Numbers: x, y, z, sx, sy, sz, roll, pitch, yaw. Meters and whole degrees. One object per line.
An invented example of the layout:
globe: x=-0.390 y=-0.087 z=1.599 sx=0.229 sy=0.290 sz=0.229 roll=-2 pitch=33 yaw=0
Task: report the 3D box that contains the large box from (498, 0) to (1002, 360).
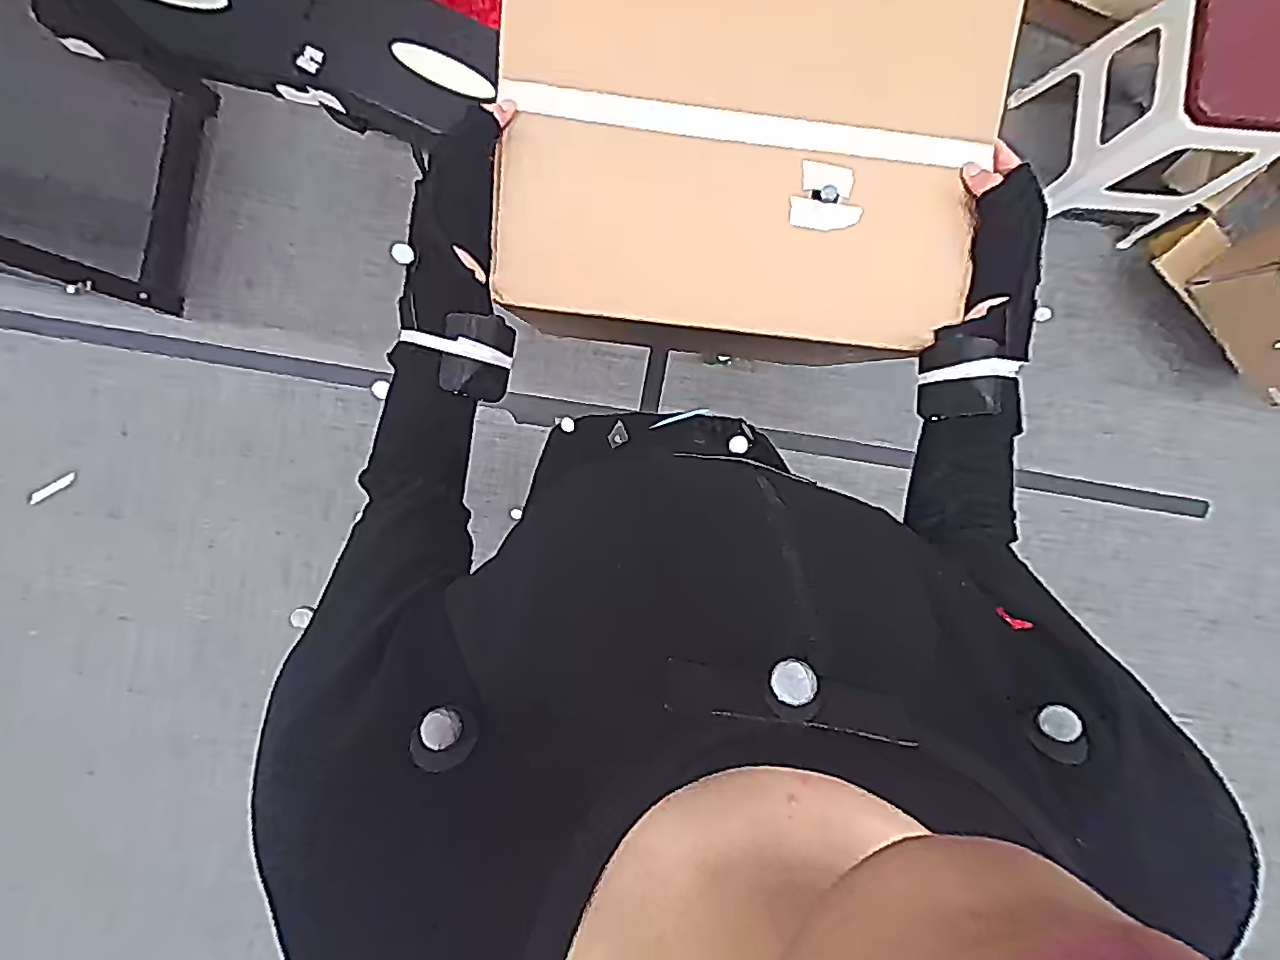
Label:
large box: x=0.078 y=-0.313 z=0.597 sx=0.408 sy=0.320 sz=0.320 roll=6 pitch=101 yaw=-4
